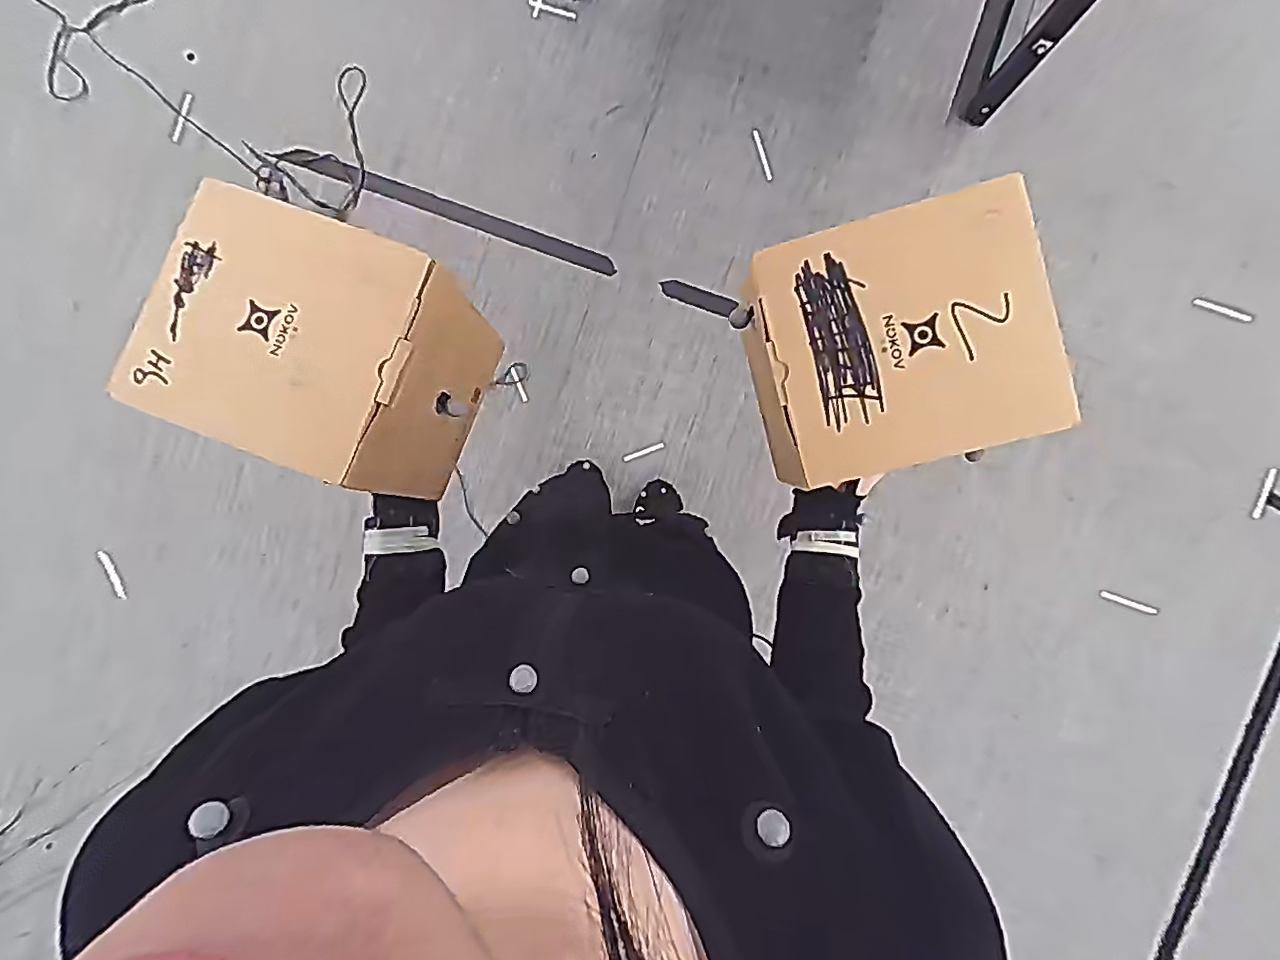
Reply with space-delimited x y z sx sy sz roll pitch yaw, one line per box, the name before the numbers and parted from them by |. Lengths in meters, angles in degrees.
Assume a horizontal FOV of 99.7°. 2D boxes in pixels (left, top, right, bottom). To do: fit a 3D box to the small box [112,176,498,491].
small box | -0.237 -0.095 0.437 0.179 0.176 0.168 21 85 2
